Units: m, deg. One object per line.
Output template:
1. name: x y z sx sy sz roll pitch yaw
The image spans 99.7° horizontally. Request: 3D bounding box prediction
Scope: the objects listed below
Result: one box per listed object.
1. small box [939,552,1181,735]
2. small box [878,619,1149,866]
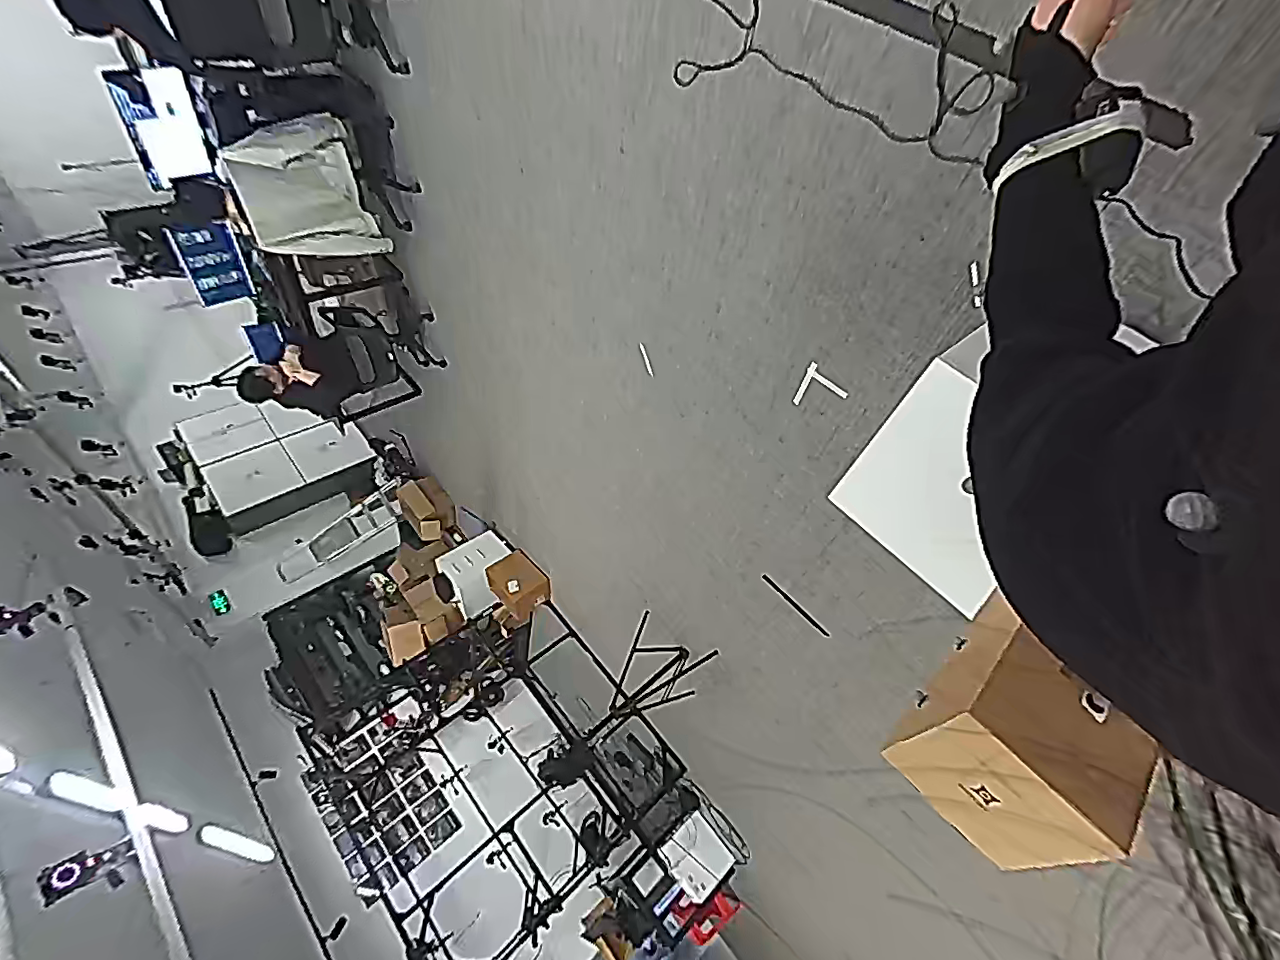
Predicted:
1. small box: 0.541 0.225 0.703 0.168 0.176 0.179 45 146 22
2. small box: 0.421 0.296 0.619 0.168 0.176 0.179 44 145 22
